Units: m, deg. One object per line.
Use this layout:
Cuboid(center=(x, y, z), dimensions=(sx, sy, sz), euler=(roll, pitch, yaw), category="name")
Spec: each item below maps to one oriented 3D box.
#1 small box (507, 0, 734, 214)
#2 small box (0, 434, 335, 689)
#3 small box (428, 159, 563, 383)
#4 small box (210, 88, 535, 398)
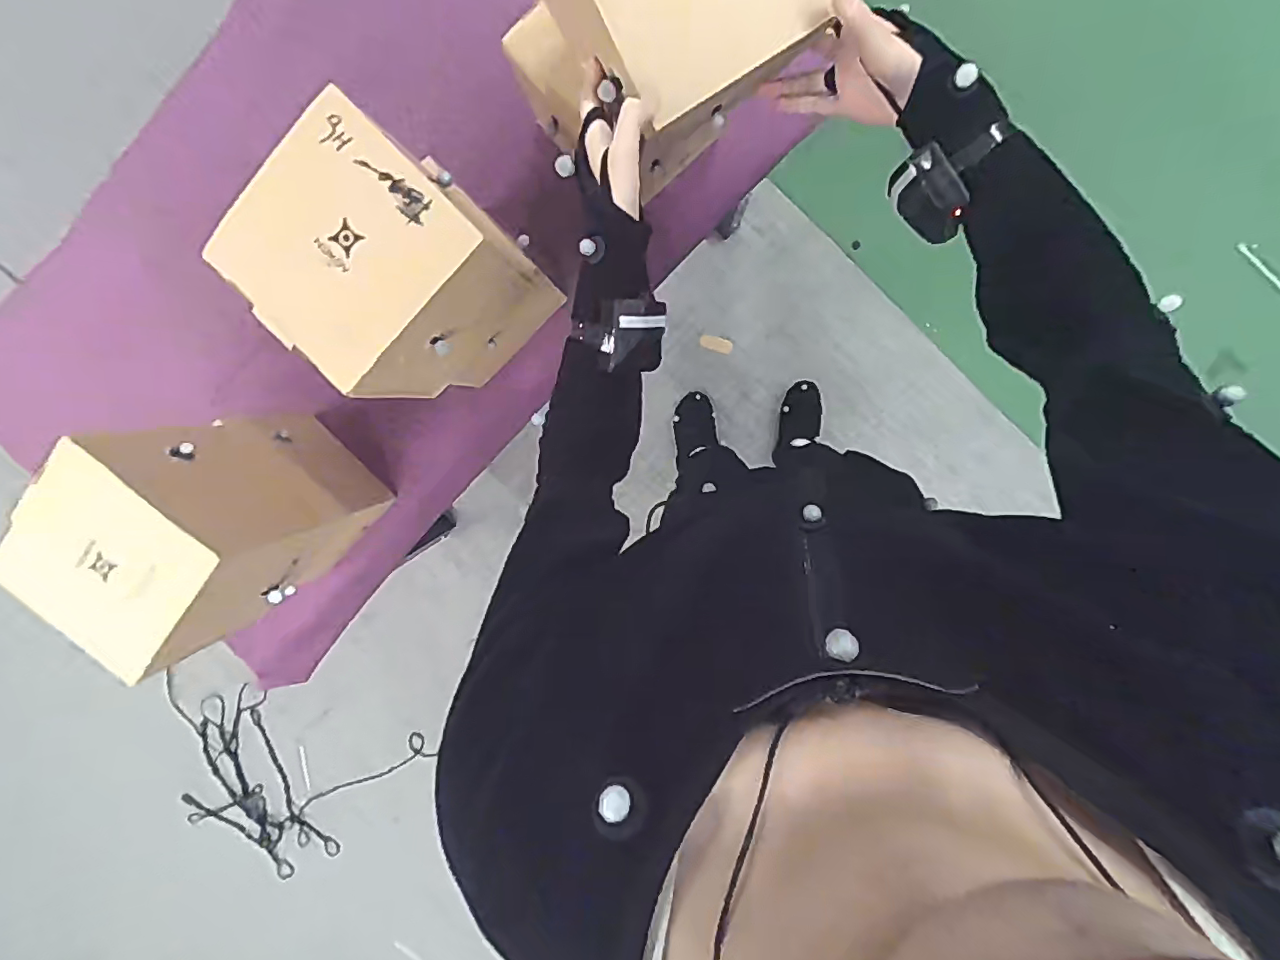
Cuboid(center=(-0.014, -0.437, 0.620), dimensions=(0.168, 0.176, 0.179), euler=(-39, 94, 9), category="small box")
Cuboid(center=(-0.471, 0.067, 0.558), dimensions=(0.179, 0.176, 0.168), euler=(40, 99, -2), category="small box")
Cuboid(center=(-0.217, -0.233, 0.663), dimensions=(0.179, 0.176, 0.168), euler=(-43, 94, 8), category="small box")
Cuboid(center=(-0.225, -0.193, 0.504), dimensions=(0.168, 0.176, 0.179), euler=(45, 99, -3), category="small box")
